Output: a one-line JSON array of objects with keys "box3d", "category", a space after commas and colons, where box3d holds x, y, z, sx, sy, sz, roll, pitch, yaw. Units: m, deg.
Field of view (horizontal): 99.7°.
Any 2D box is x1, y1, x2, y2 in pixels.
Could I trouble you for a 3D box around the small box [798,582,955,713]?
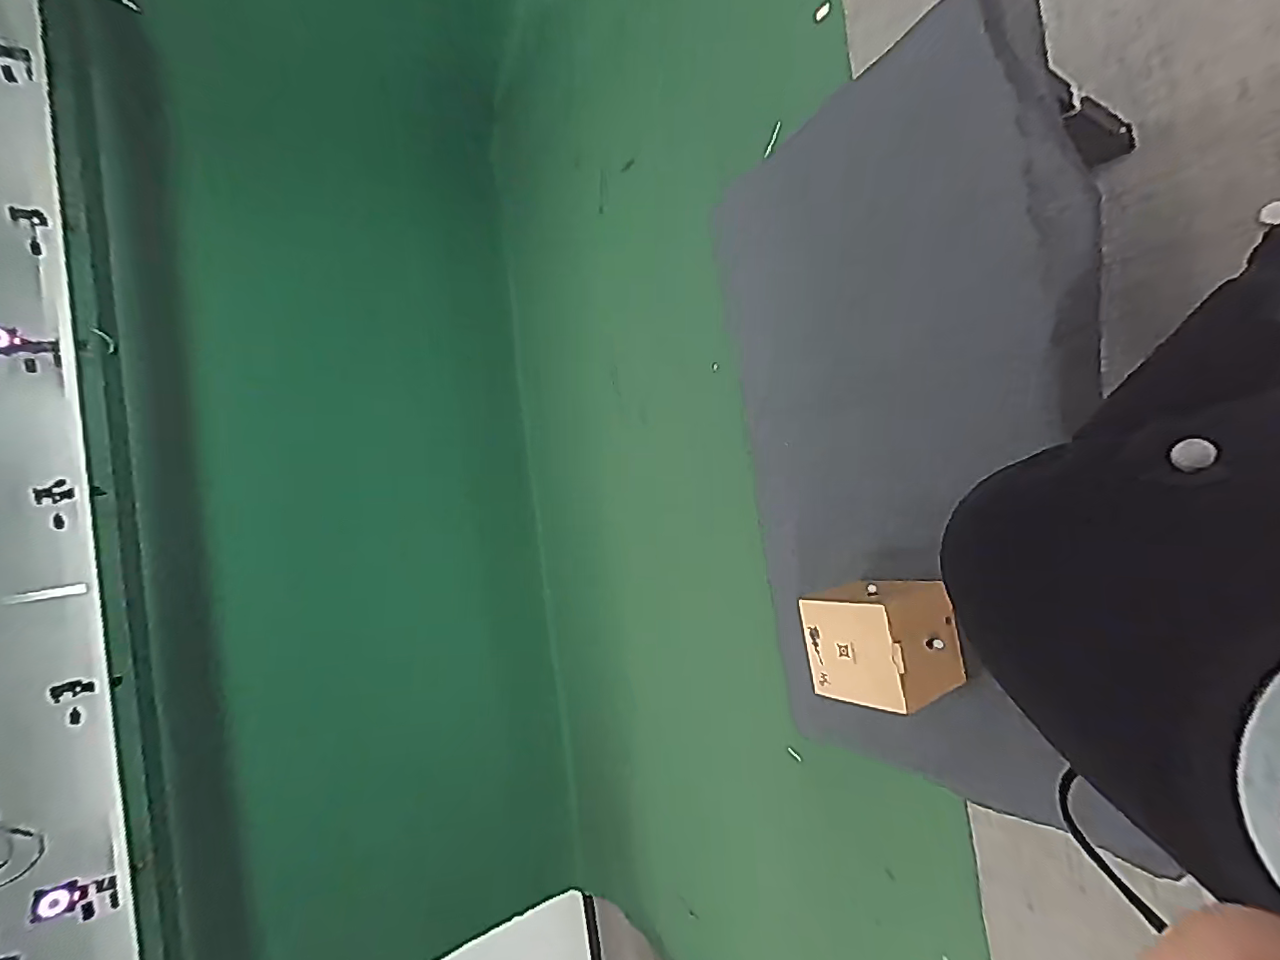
[{"box3d": [0.402, 0.269, 0.913, 0.179, 0.176, 0.168, -16, 82, 57], "category": "small box"}]
